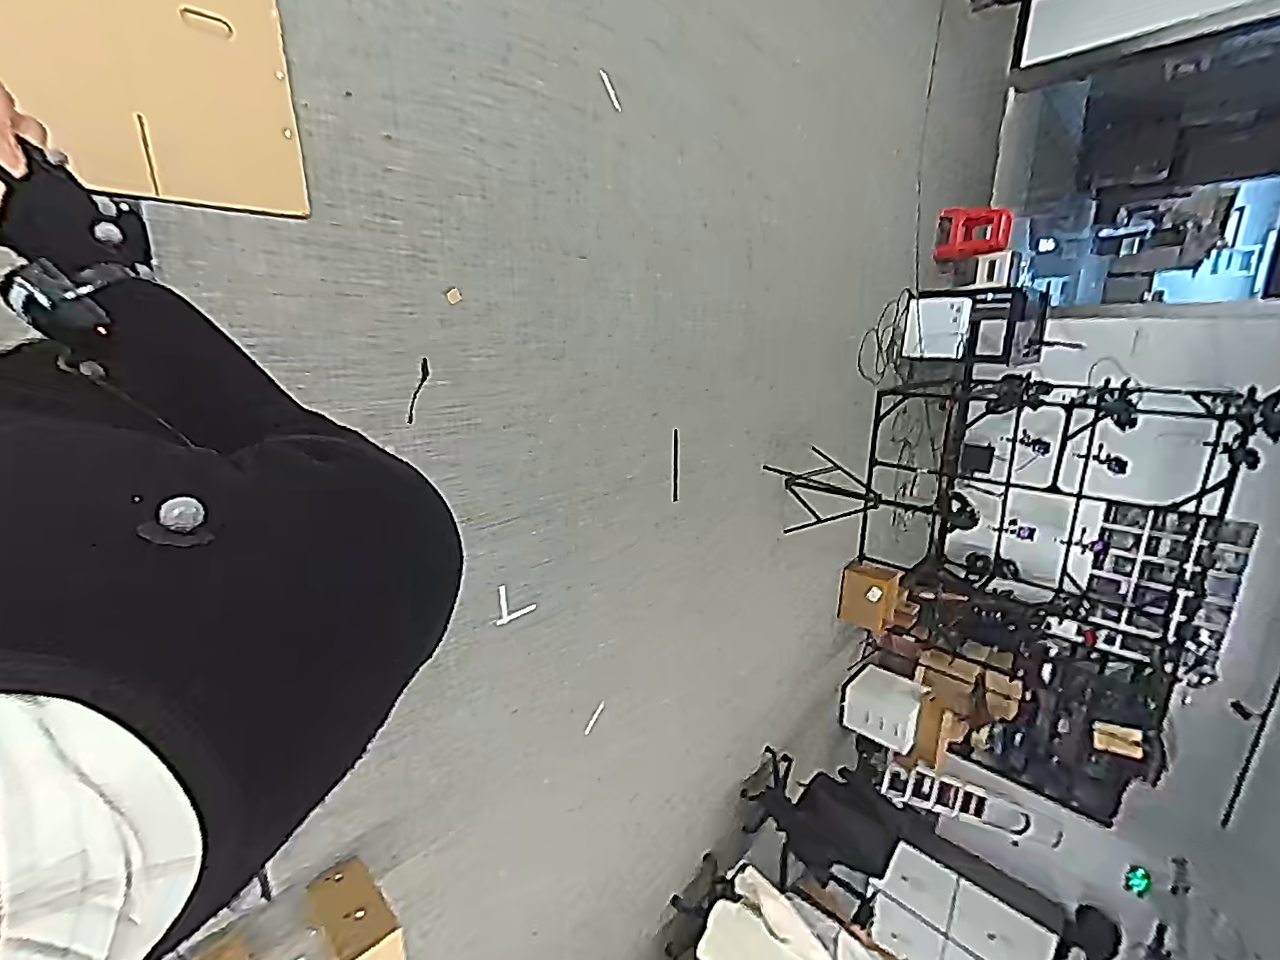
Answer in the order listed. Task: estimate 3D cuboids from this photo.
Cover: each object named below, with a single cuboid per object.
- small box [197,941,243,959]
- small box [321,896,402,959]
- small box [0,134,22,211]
[{"bbox_3d":[-1.165,1.415,1.468,0.168,0.176,0.179,-17,113,-43],"label":"small box"},{"bbox_3d":[-0.816,1.392,1.589,0.168,0.176,0.179,-12,108,-45],"label":"small box"},{"bbox_3d":[-0.624,-0.289,0.398,0.179,0.176,0.168,-29,120,-49],"label":"small box"}]
